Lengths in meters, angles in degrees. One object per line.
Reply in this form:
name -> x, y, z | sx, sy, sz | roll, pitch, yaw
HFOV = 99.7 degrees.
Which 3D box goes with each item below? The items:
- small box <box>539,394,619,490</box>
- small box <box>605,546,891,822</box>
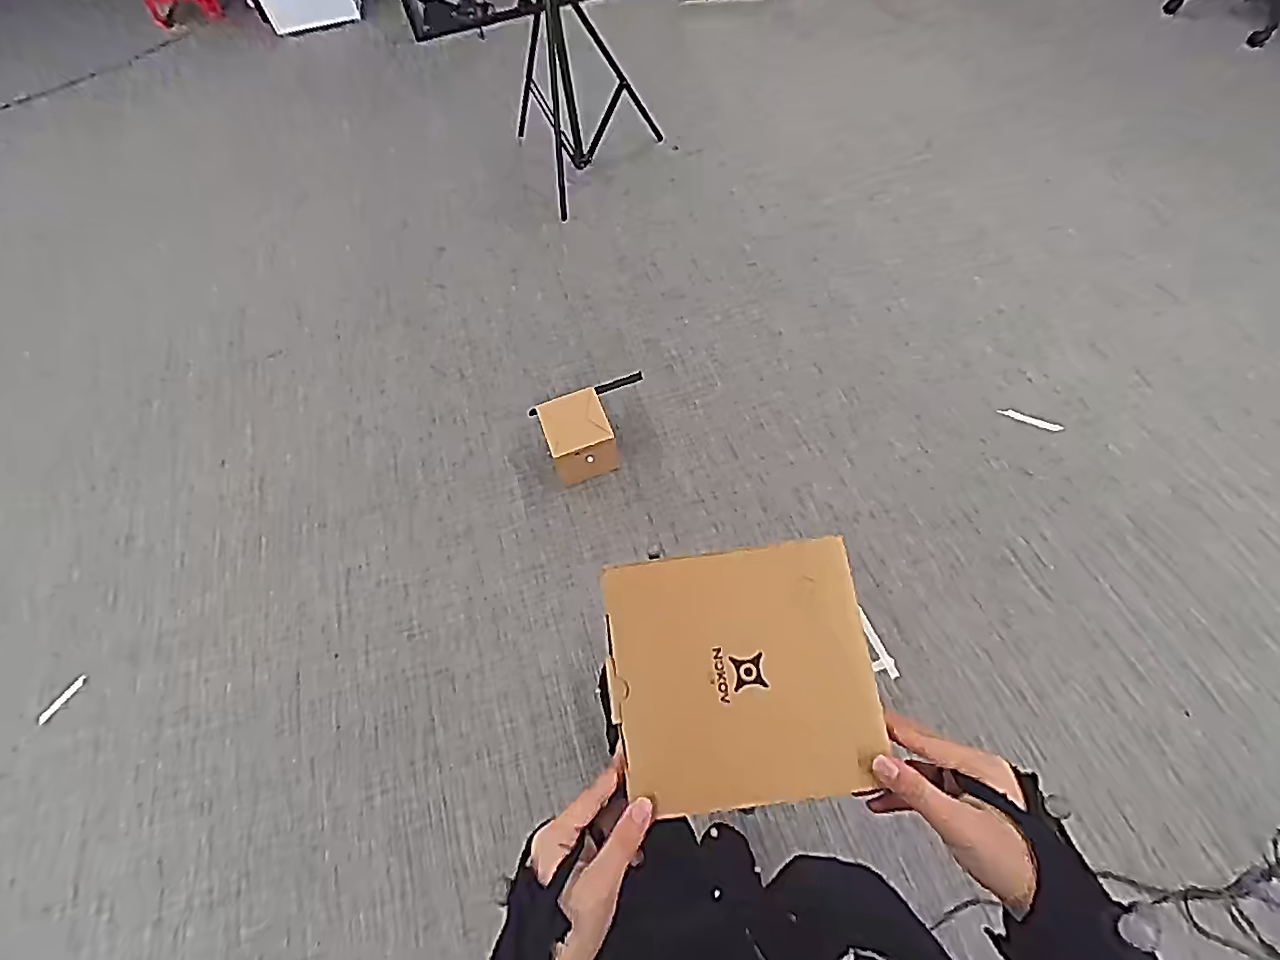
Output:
small box -> -0.167, -0.107, 1.478 | 0.168, 0.176, 0.179 | -20, 62, -6
small box -> 0.073, 0.151, 0.448 | 0.179, 0.176, 0.168 | -8, 77, 2
